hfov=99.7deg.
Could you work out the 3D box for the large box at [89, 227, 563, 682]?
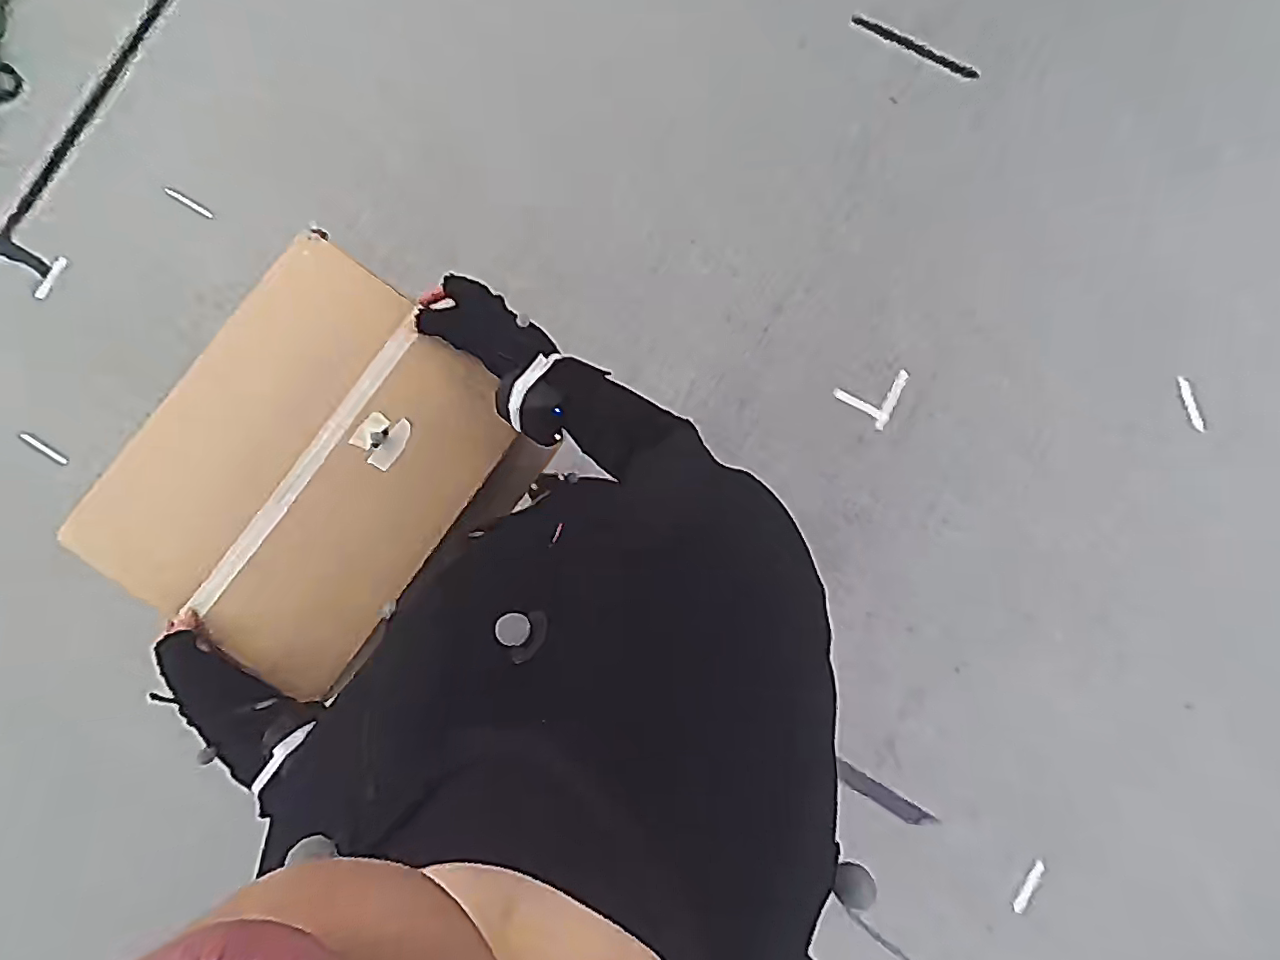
[{"bbox_3d":[-0.352,-0.023,0.728,0.320,0.320,0.408,36,85,-2],"label":"large box"}]
